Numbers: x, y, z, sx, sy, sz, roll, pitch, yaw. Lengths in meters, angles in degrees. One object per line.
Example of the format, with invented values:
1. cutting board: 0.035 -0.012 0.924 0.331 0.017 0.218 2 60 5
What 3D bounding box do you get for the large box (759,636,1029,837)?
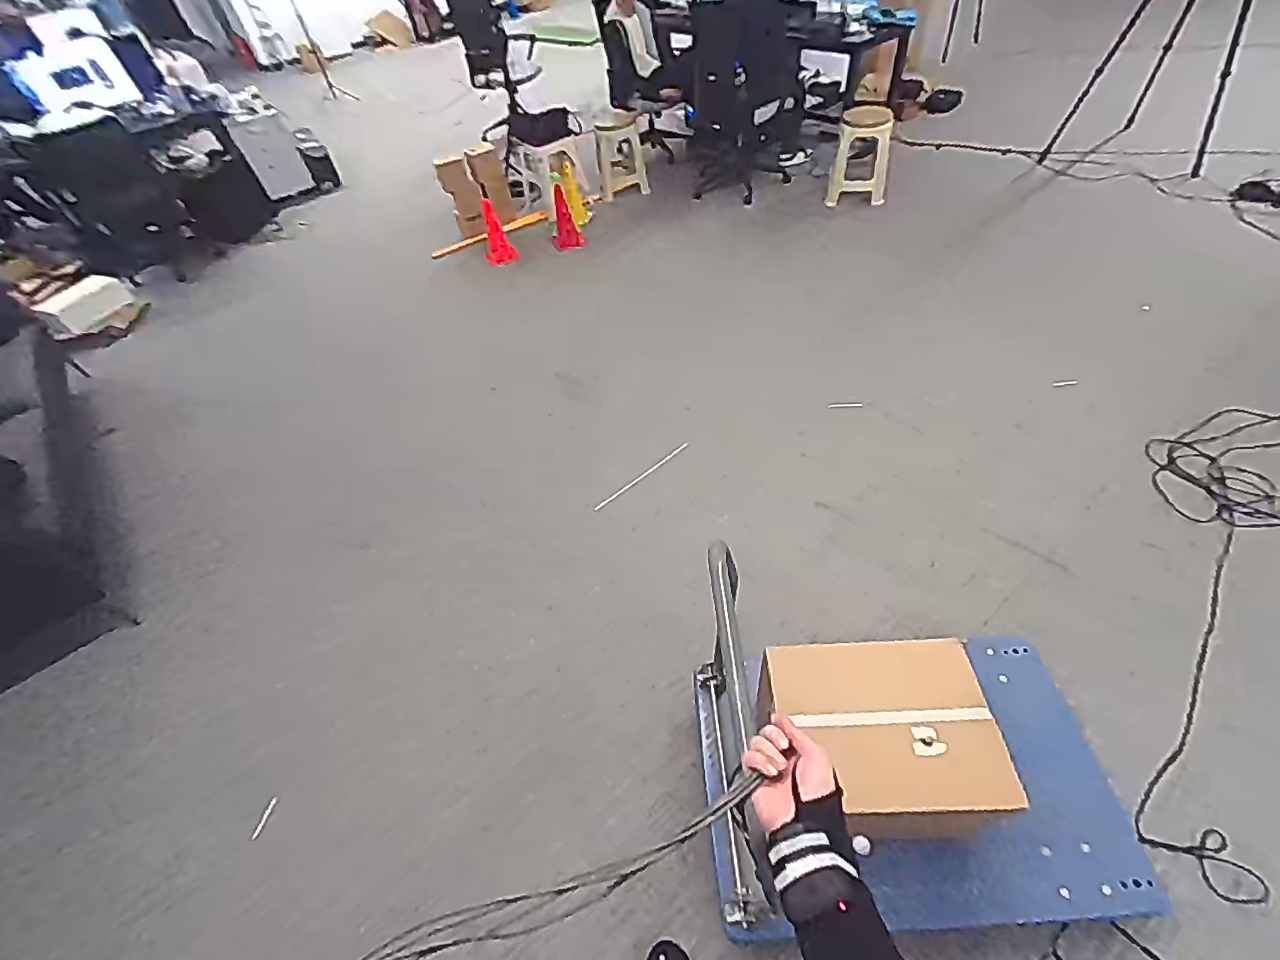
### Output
1. large box: 0.485 0.549 1.146 0.408 0.320 0.320 -3 50 5
